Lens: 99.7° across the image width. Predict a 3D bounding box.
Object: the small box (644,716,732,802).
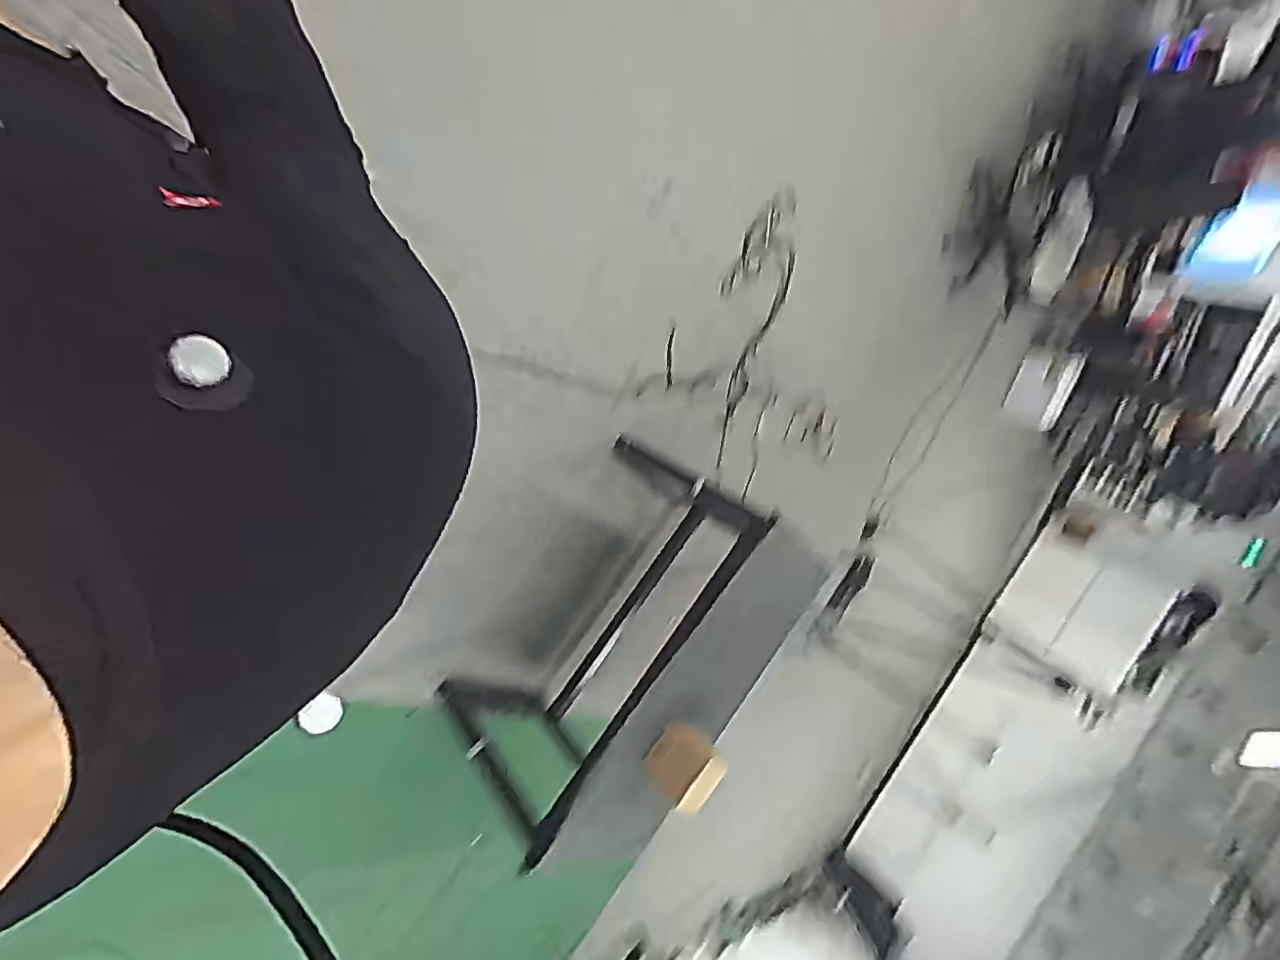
[{"bbox_3d":[0.147,0.859,1.667,0.168,0.176,0.179,-52,138,-7],"label":"small box"}]
